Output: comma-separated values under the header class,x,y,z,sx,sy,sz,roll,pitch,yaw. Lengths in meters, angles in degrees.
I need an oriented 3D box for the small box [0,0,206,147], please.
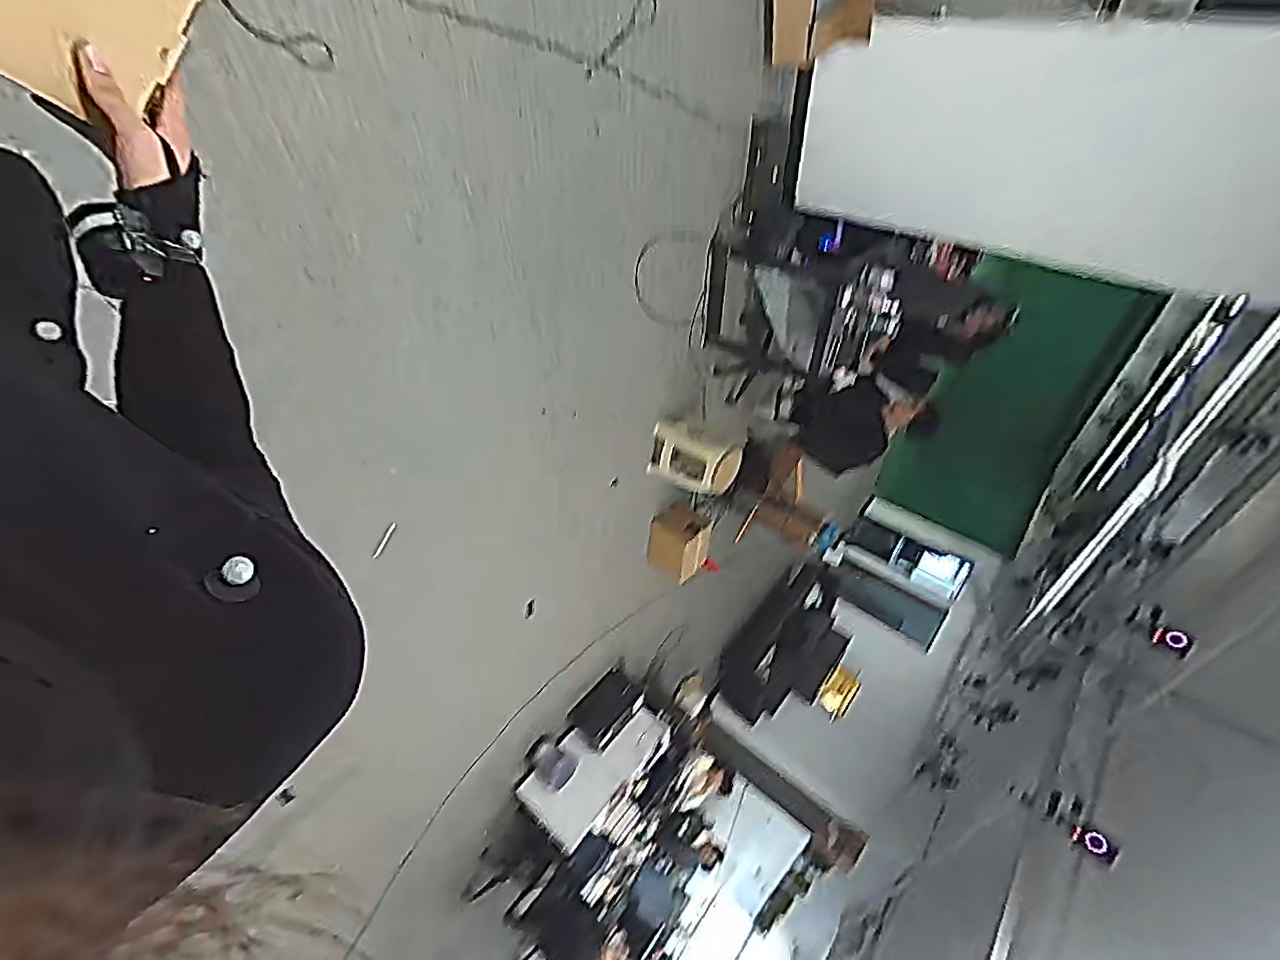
class,x,y,z,sx,sy,sz,roll,pitch,yaw
small box,-0.488,-0.408,0.415,0.168,0.176,0.179,-57,154,7
